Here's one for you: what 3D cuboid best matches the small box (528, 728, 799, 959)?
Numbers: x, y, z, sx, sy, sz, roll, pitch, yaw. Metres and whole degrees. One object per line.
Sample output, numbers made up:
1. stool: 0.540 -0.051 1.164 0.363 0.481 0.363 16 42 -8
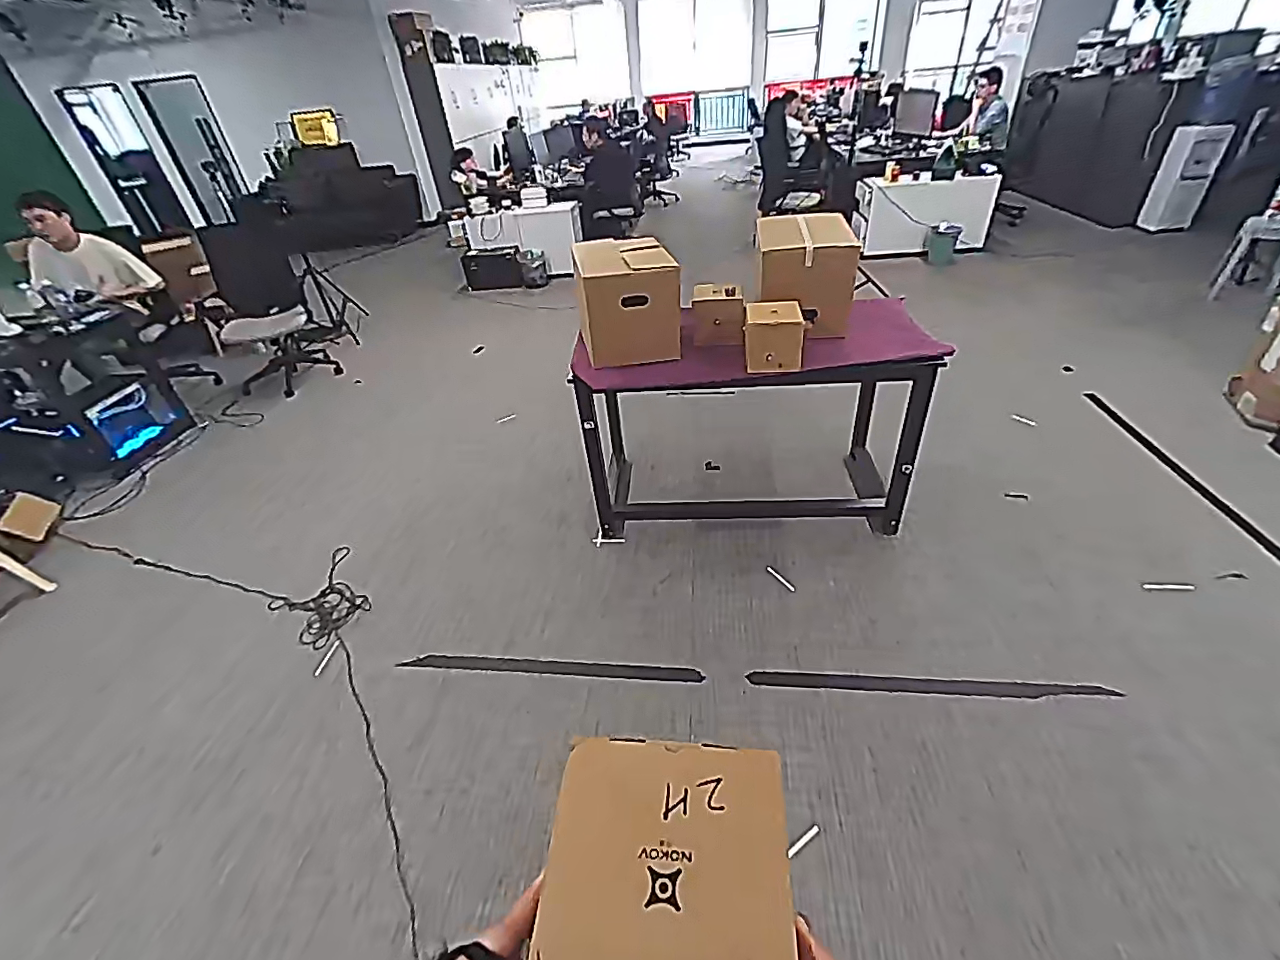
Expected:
1. small box: 0.026 0.318 0.411 0.168 0.176 0.179 1 40 8
